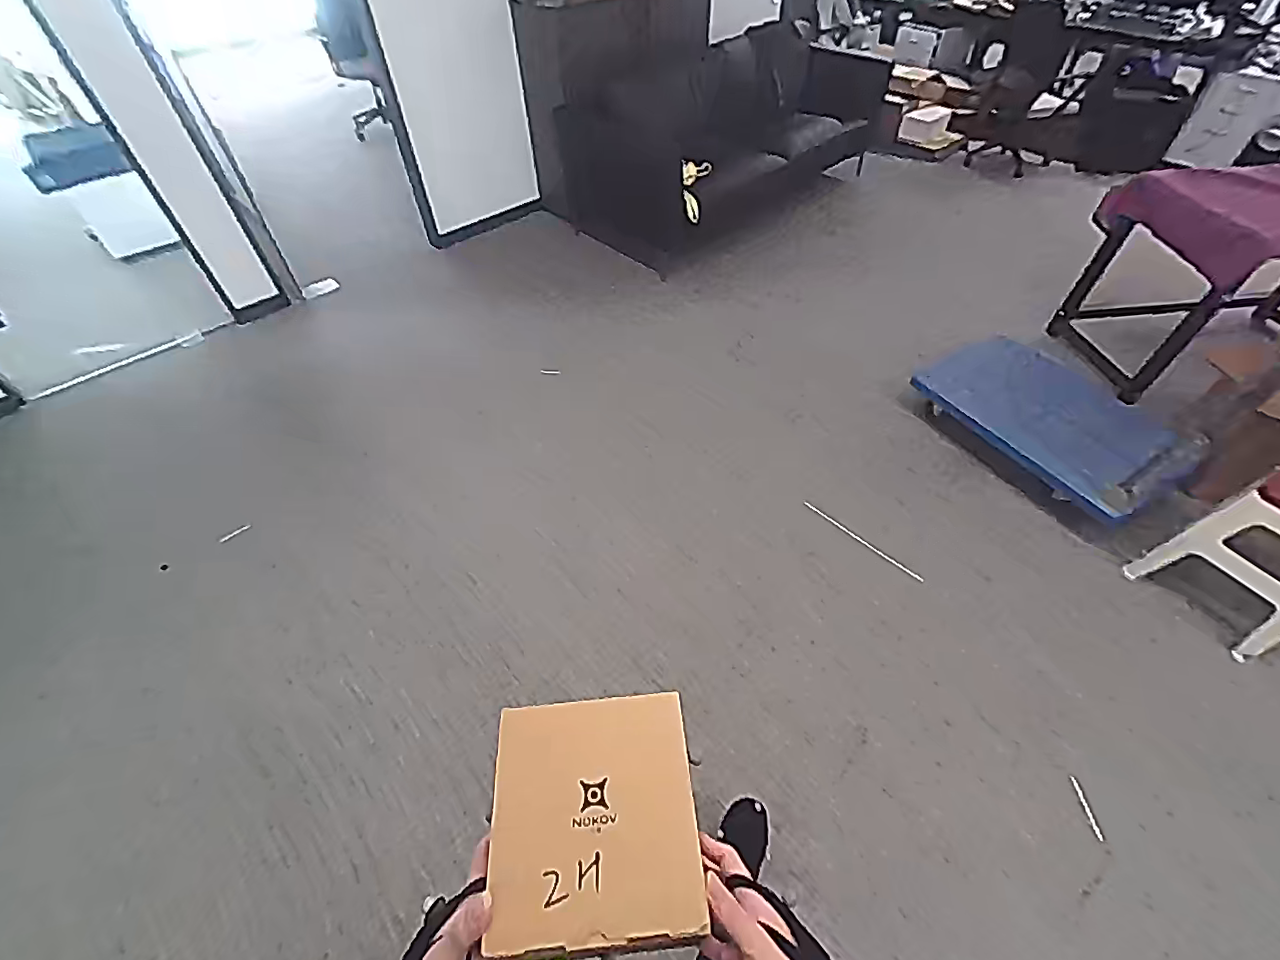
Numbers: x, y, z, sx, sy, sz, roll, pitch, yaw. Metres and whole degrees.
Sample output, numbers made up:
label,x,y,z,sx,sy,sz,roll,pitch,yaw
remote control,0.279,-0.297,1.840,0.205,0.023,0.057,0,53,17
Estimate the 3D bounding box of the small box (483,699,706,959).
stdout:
label,x,y,z,sx,sy,sz,roll,pitch,yaw
small box,-0.036,0.330,0.506,0.168,0.176,0.179,-5,47,-2
